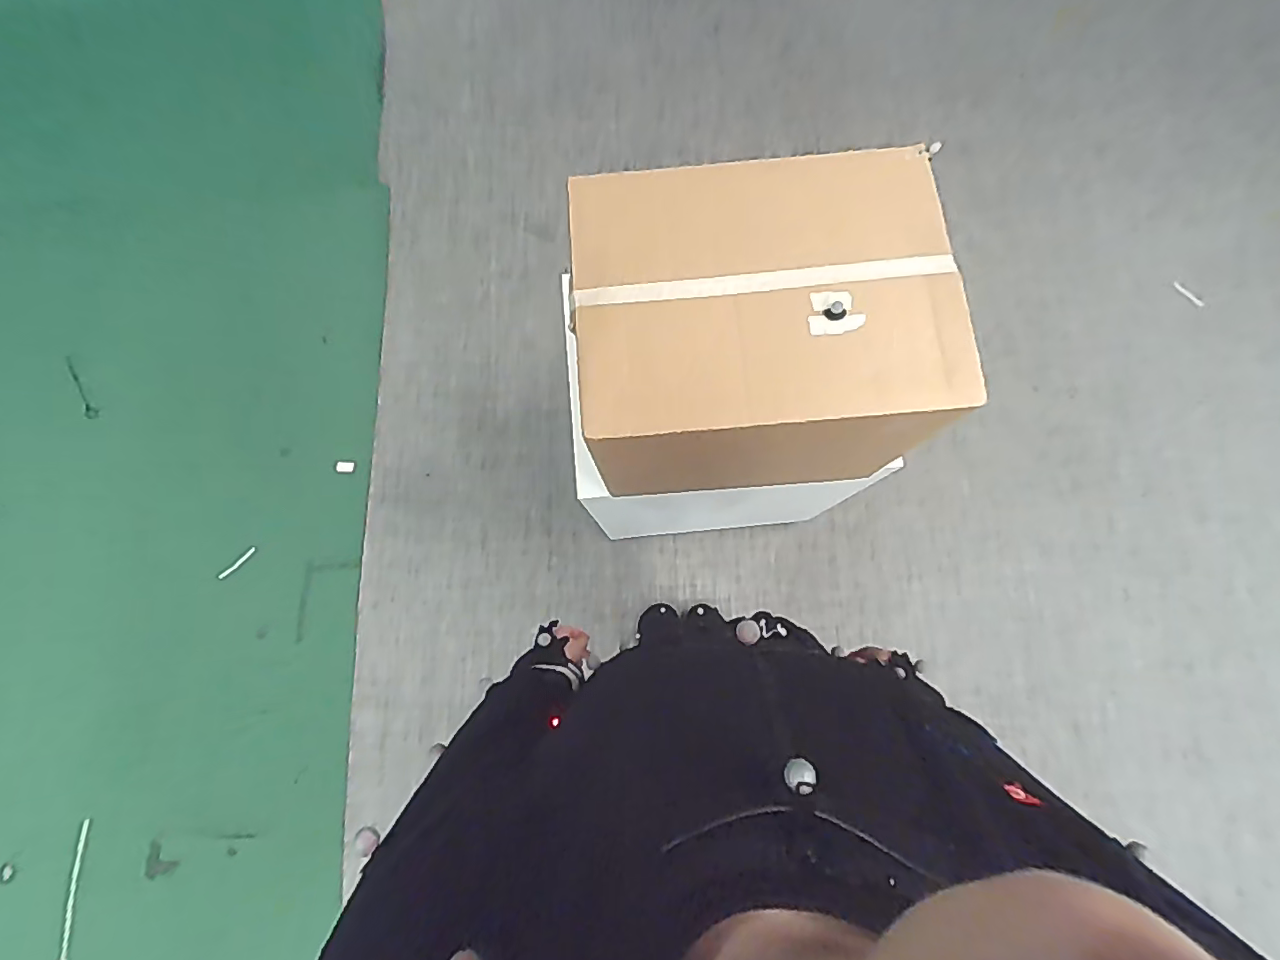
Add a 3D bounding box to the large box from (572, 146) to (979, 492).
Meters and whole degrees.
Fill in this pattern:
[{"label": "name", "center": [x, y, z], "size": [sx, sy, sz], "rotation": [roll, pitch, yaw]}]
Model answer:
[{"label": "large box", "center": [0.135, -0.180, 0.723], "size": [0.408, 0.320, 0.320], "rotation": [-5, 77, 0]}]
